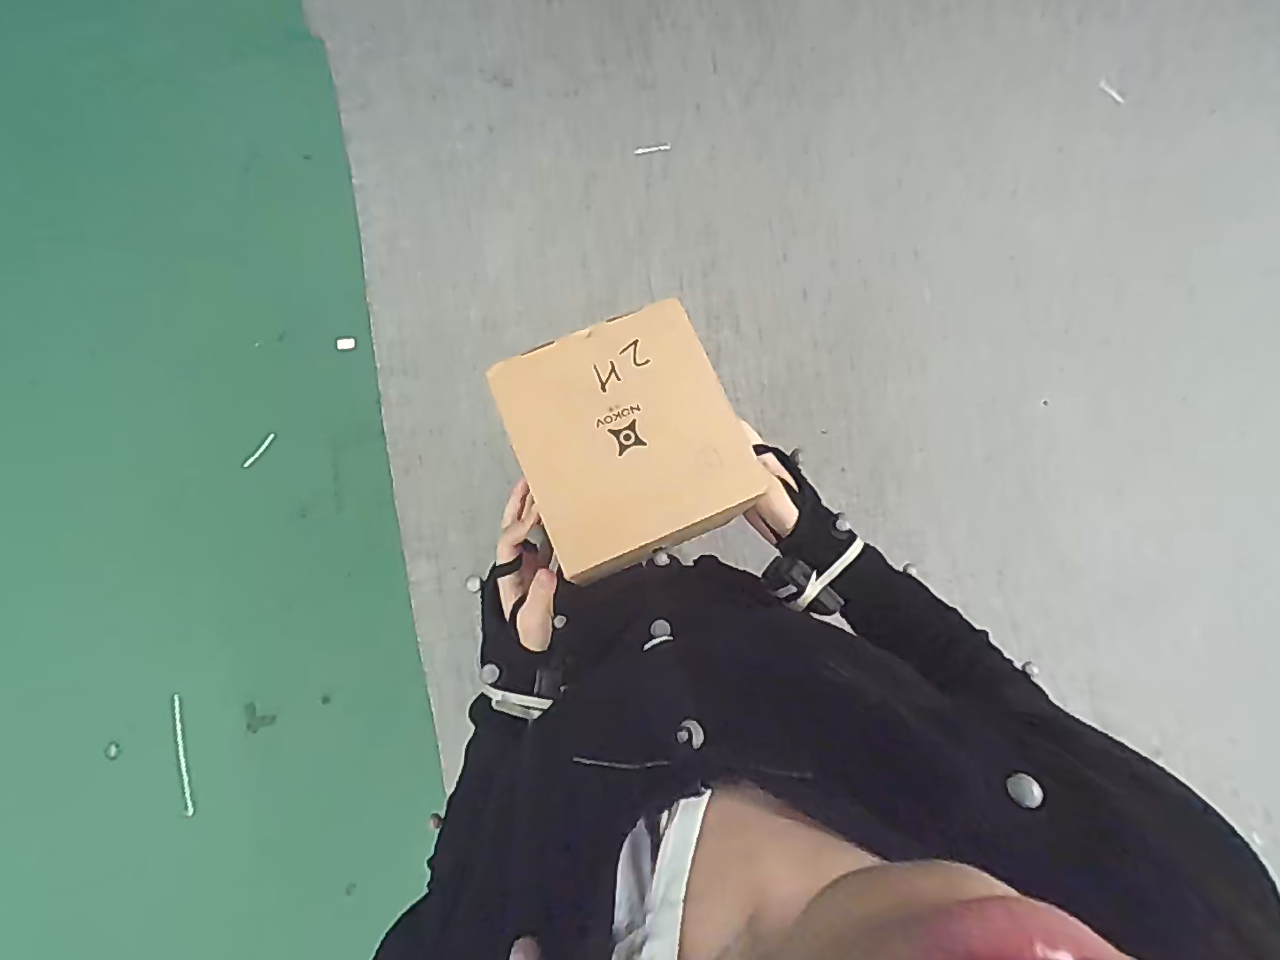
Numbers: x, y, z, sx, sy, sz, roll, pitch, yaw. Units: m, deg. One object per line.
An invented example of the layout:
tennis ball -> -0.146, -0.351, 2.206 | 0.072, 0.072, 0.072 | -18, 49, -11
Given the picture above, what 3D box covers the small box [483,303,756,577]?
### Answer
small box -> -0.018, -0.020, 0.491 | 0.168, 0.176, 0.179 | -22, 77, -7
